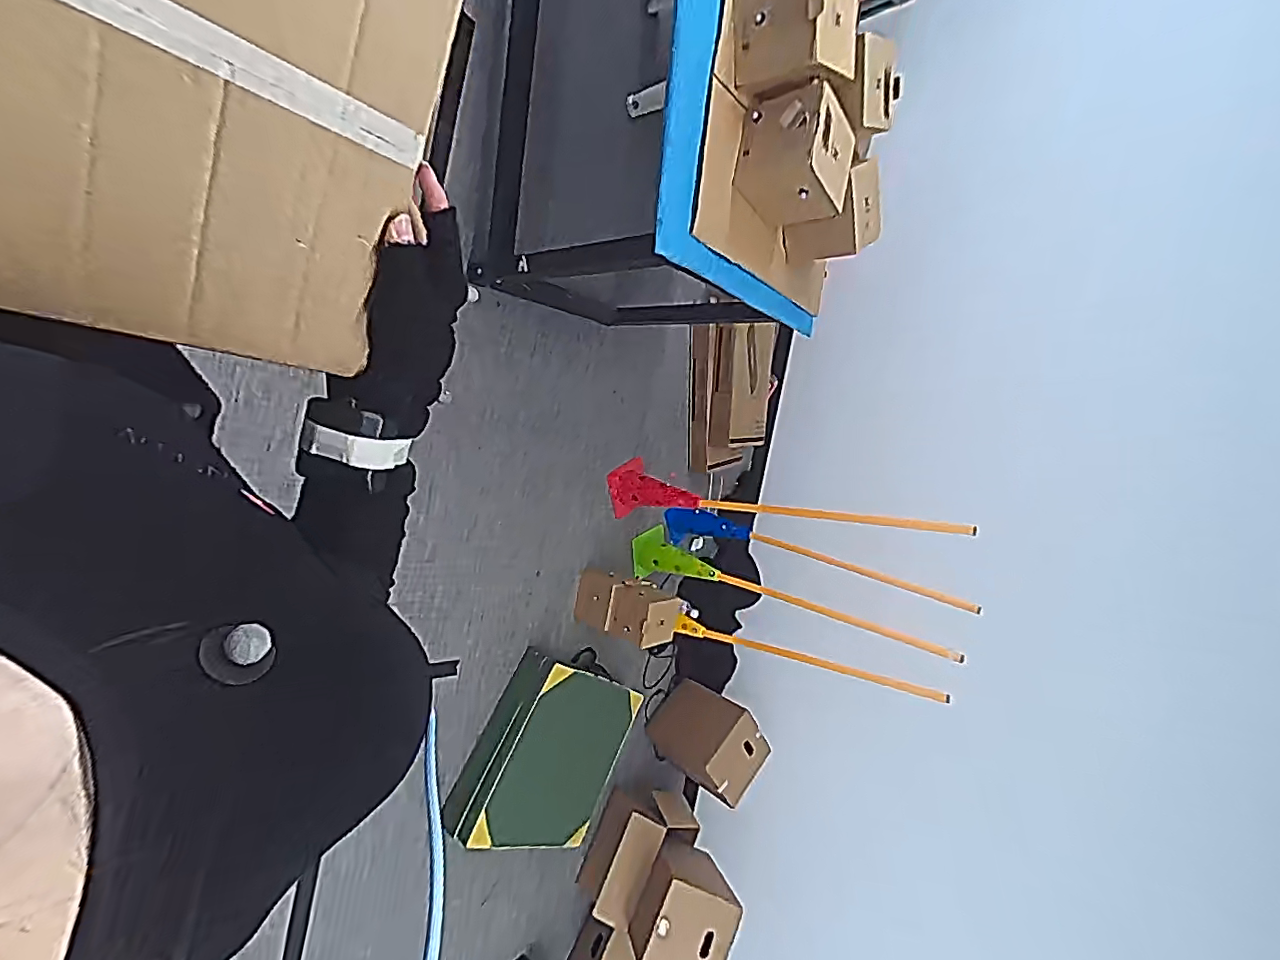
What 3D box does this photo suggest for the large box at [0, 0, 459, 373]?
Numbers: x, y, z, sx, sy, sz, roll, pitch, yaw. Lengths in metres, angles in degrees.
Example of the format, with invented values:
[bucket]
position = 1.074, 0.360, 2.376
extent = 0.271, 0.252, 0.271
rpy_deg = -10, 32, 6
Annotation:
[large box]
position = -0.376, -0.296, 0.315
extent = 0.408, 0.320, 0.320
rpy_deg = 7, 116, -45
